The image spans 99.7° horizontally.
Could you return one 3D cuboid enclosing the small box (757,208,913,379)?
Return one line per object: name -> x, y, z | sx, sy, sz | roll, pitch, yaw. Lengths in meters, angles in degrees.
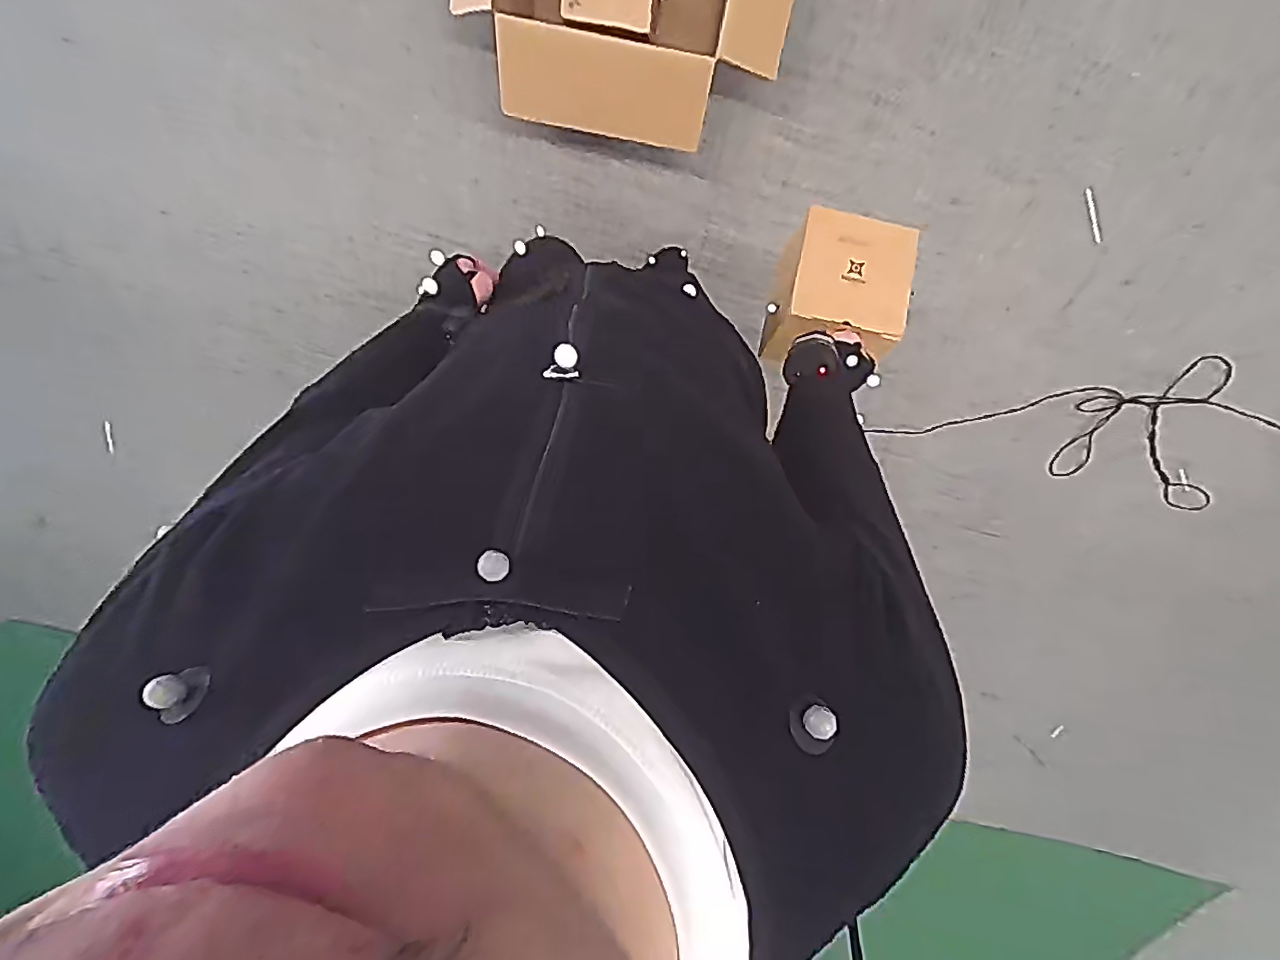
small box -> 0.293, -0.277, 0.843 | 0.168, 0.176, 0.179 | 13, 78, -2
